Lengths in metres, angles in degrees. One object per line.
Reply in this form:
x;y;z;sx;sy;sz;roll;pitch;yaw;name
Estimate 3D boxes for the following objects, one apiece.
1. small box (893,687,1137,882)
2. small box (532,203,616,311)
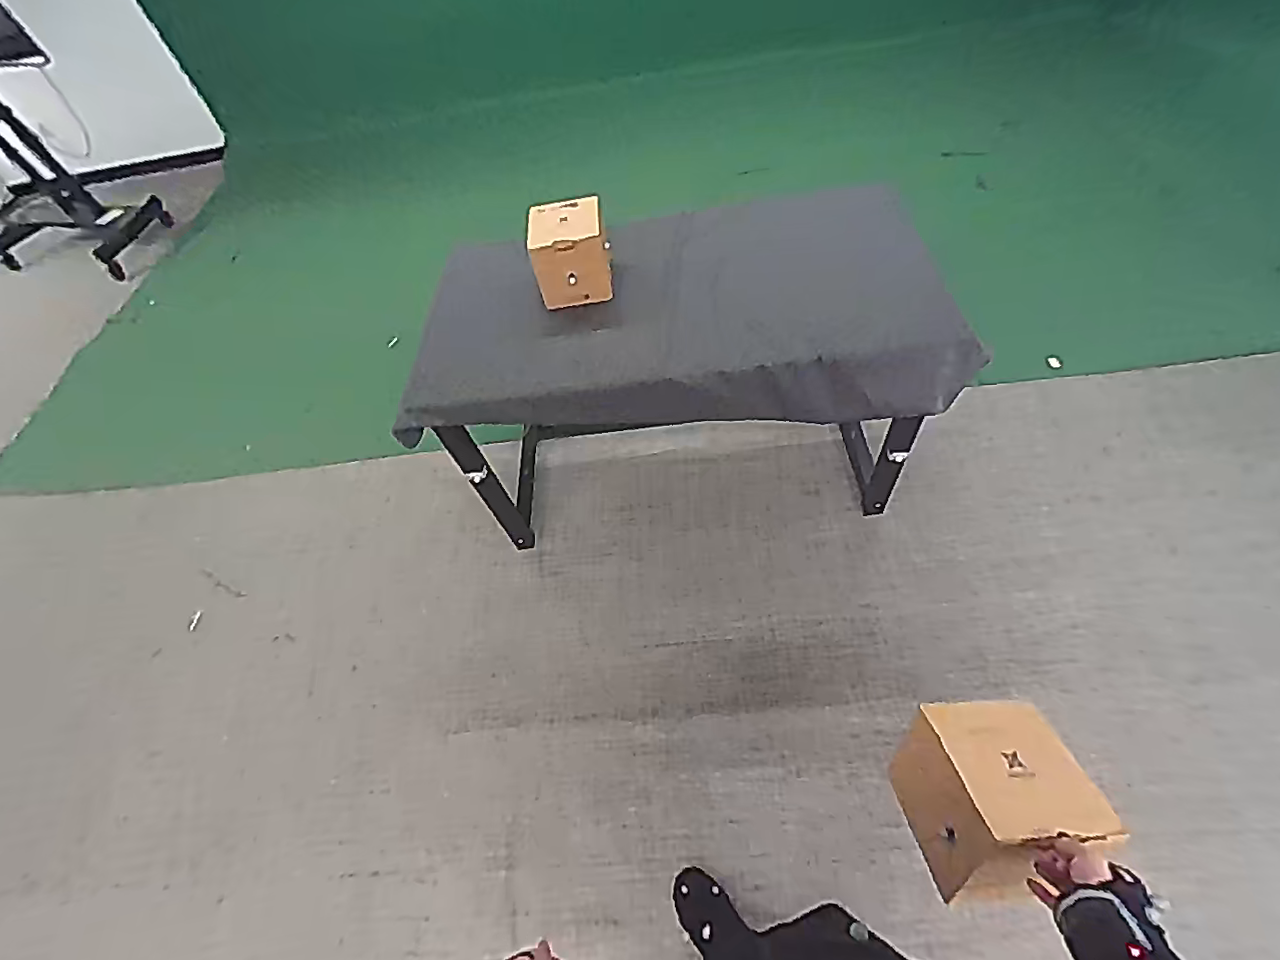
0.465;0.398;0.707;0.168;0.176;0.179;3;35;-4;small box
-0.157;-0.530;1.310;0.168;0.176;0.179;-11;54;3;small box
